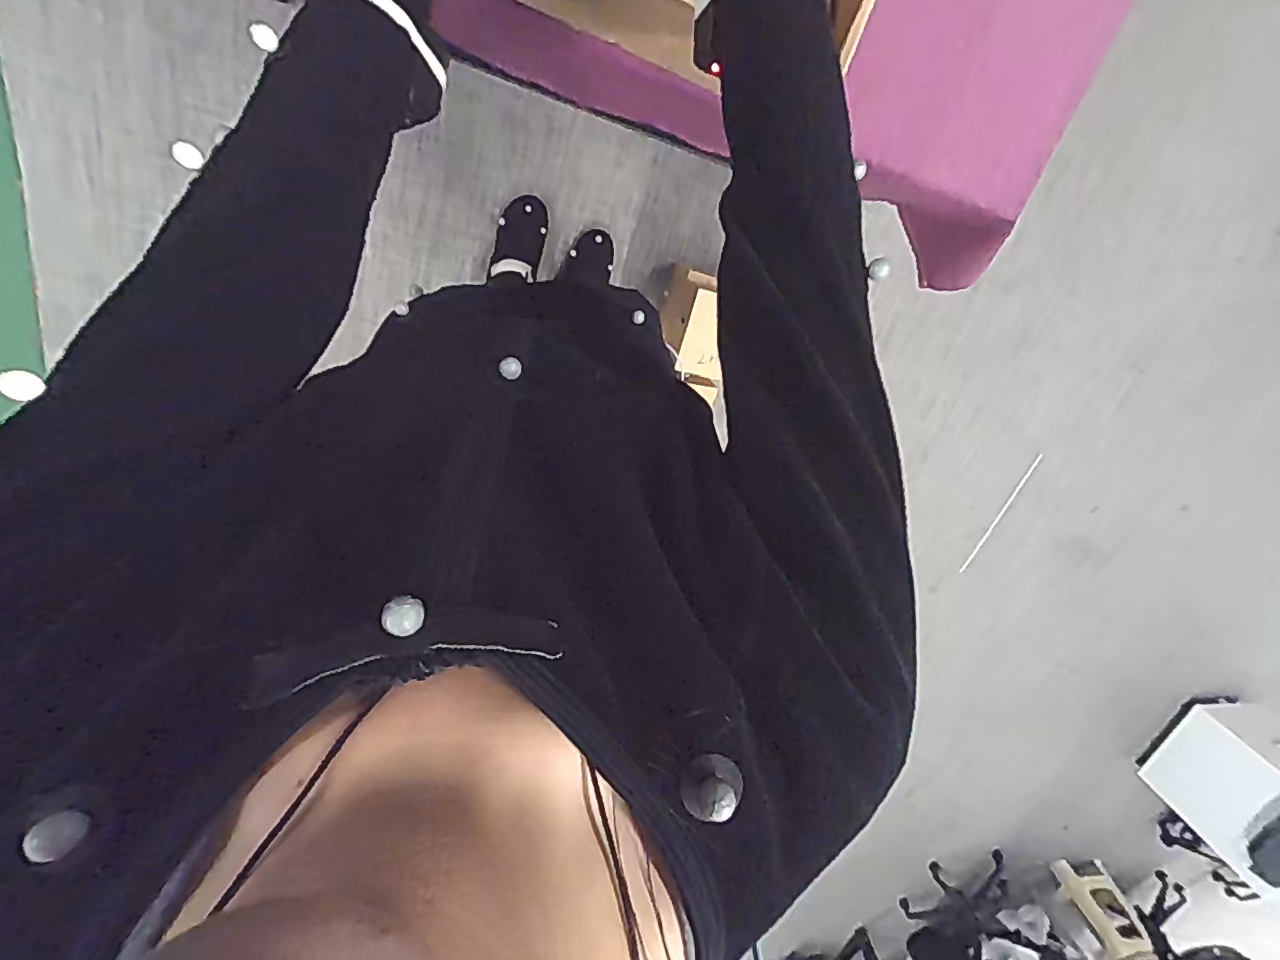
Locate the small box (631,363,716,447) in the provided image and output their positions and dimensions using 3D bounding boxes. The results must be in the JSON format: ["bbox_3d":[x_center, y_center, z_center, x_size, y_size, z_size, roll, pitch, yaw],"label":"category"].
[{"bbox_3d":[0.080,-0.207,1.451,0.179,0.176,0.168,8,115,-13],"label":"small box"}]

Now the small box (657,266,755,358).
[{"bbox_3d":[0.155,-0.423,1.347,0.179,0.176,0.168,12,115,-14],"label":"small box"}]
